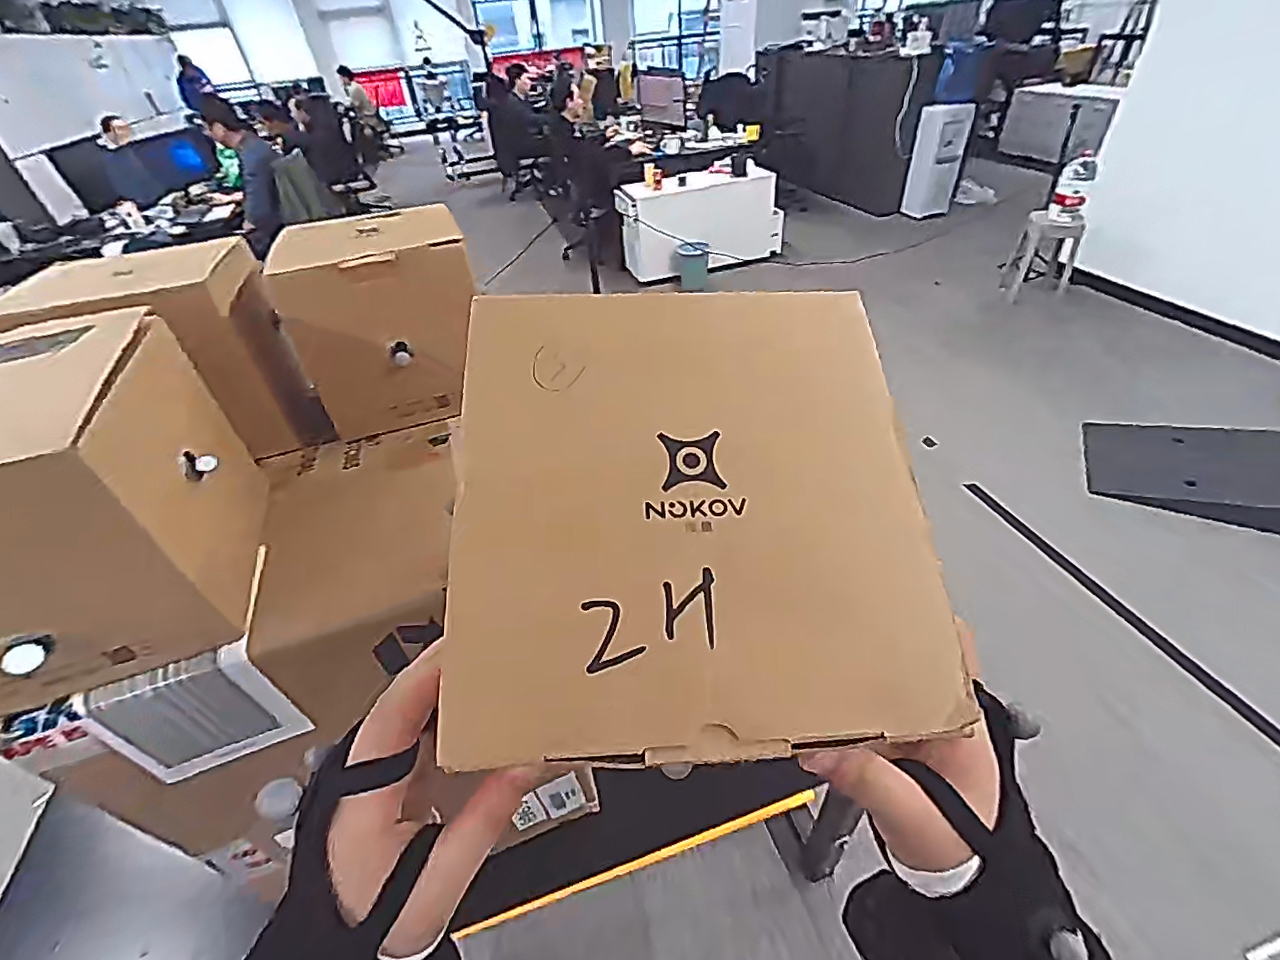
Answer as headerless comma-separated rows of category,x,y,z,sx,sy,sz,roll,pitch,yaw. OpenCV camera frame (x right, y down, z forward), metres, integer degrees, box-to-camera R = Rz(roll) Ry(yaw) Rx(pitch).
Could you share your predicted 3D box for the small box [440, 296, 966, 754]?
small box,0.014,0.033,0.271,0.168,0.176,0.179,-2,67,-3
